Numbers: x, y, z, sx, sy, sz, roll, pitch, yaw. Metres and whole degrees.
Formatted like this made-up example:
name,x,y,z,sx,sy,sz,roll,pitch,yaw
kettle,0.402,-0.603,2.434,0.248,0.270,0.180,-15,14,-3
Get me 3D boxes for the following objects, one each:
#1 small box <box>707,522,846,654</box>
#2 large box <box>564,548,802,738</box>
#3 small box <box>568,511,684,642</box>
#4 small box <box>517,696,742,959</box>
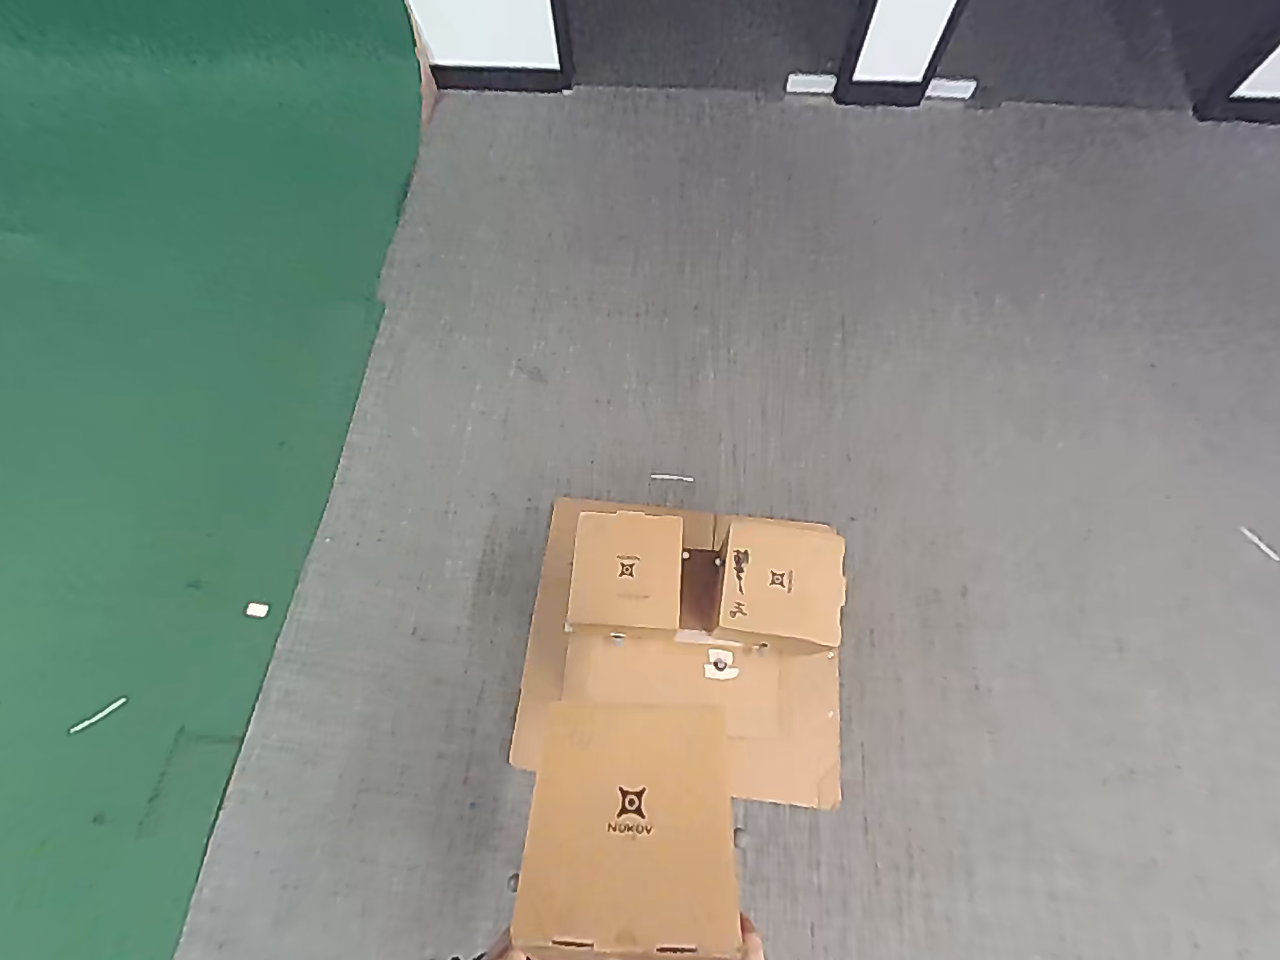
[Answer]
name,x,y,z,sx,sy,sz,roll,pitch,yaw
small box,0.212,0.180,0.870,0.179,0.176,0.168,9,69,5
large box,0.075,0.324,1.079,0.408,0.320,0.320,4,69,1
small box,-0.018,0.162,0.883,0.168,0.176,0.179,2,68,2
small box,-0.005,0.325,0.500,0.168,0.176,0.179,1,43,2
